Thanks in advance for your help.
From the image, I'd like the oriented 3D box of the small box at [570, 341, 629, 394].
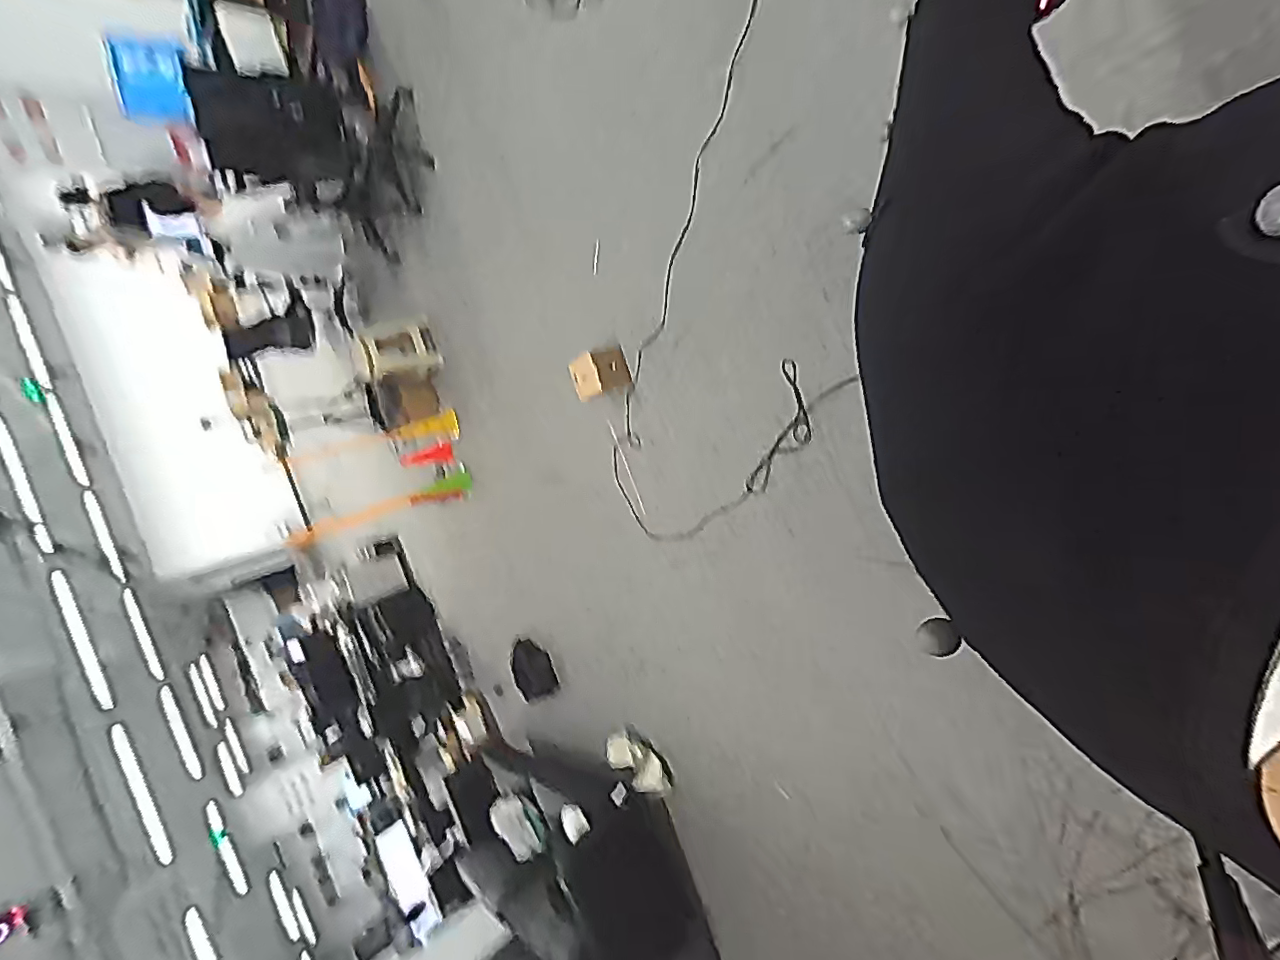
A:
[{"bbox_3d":[-0.165,-0.482,2.301,0.179,0.176,0.168,-14,96,51],"label":"small box"}]
